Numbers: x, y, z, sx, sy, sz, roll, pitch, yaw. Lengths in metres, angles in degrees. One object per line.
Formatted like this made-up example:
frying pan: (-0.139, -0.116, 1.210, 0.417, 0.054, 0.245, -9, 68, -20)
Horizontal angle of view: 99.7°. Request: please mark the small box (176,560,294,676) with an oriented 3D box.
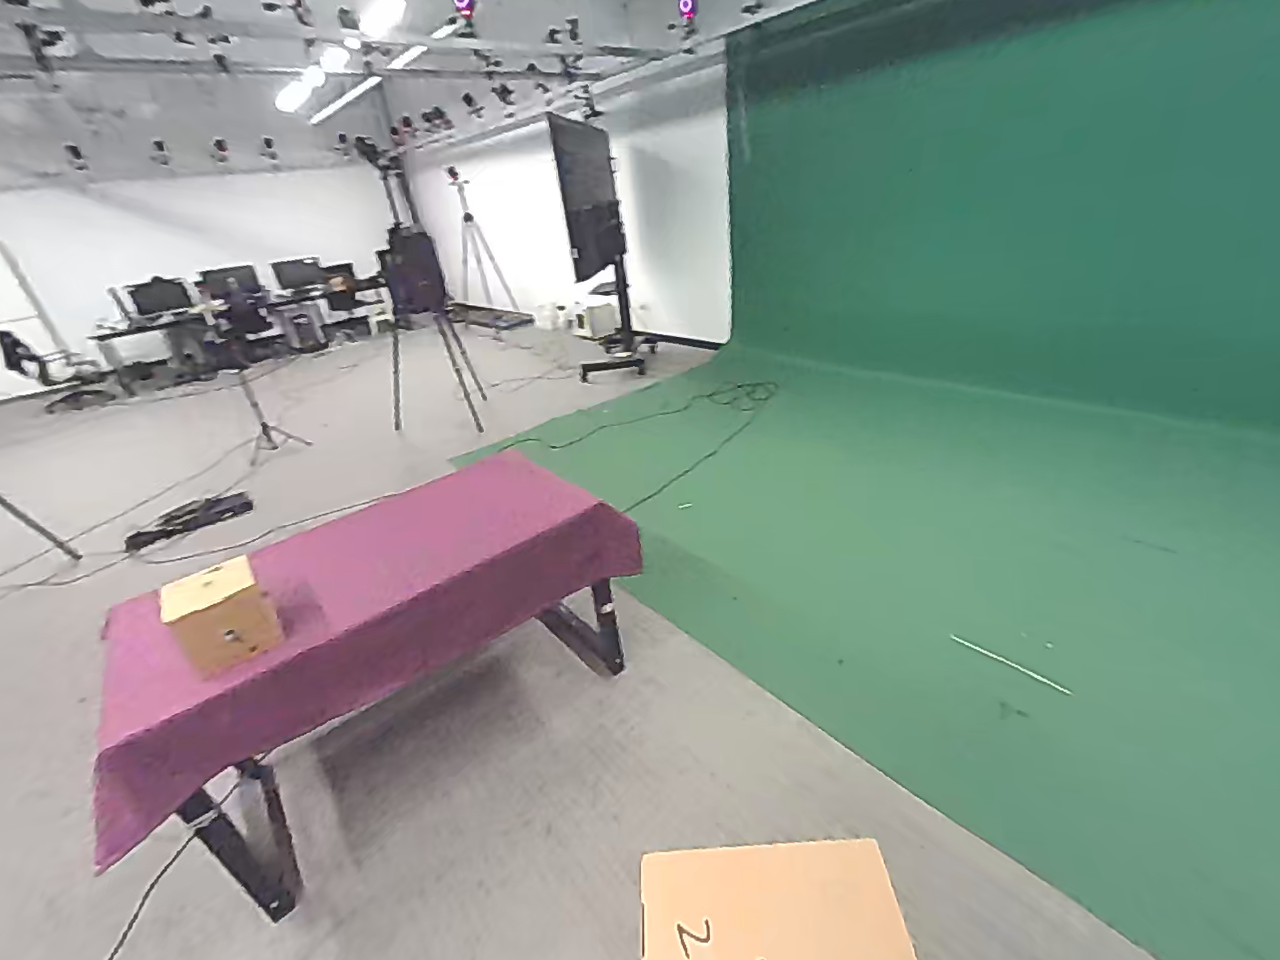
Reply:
small box: (-0.931, 0.322, 1.248, 0.168, 0.176, 0.179, -26, 33, -32)
